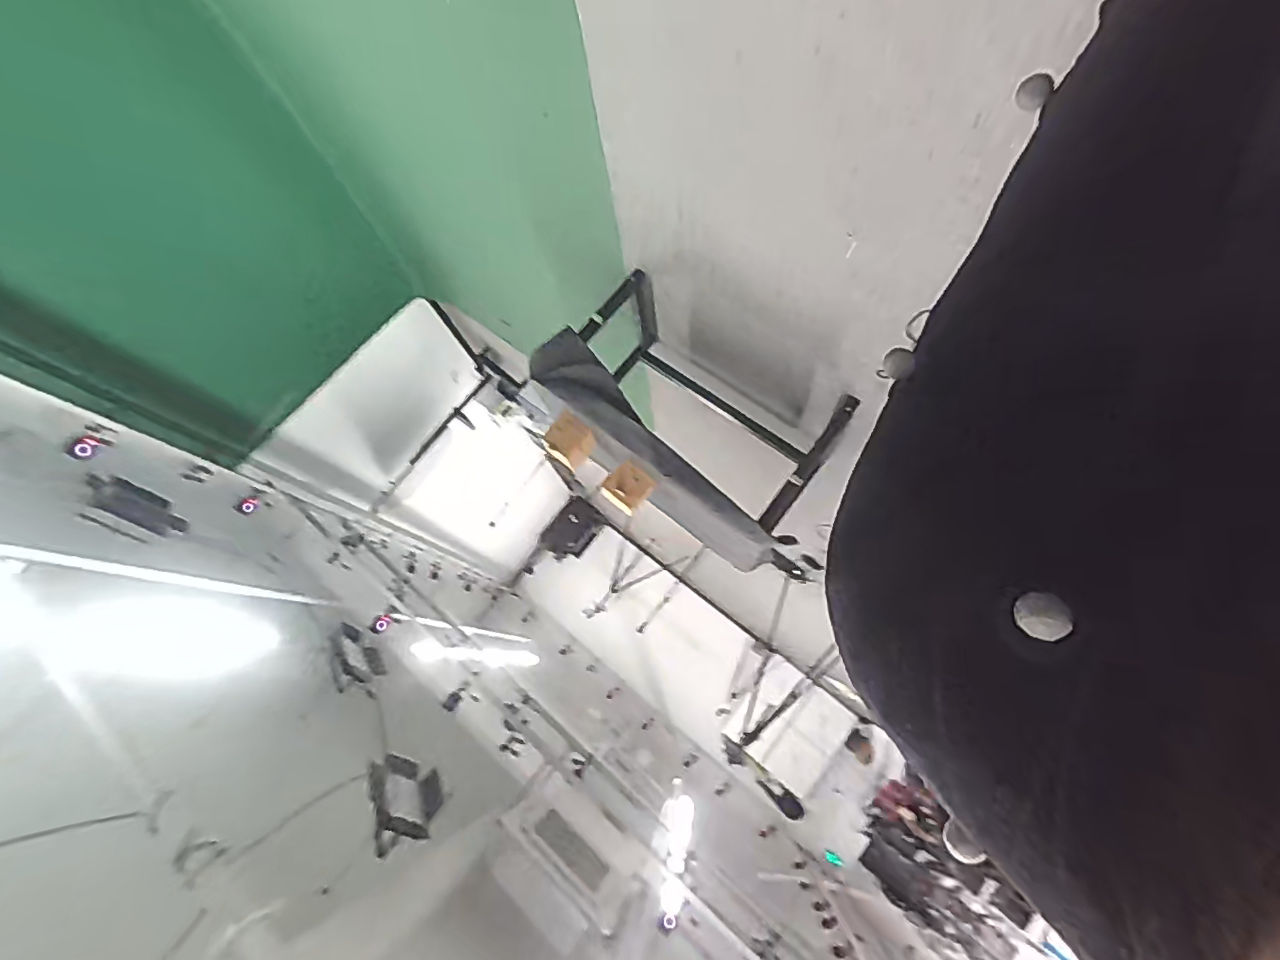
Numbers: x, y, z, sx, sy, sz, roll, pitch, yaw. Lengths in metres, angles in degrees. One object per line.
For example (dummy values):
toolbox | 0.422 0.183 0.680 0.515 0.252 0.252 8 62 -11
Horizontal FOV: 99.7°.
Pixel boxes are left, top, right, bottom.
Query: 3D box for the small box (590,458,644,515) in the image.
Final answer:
small box | -0.099 0.029 2.364 0.168 0.176 0.179 39 168 6

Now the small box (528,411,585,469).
small box | -0.365 -0.181 2.406 0.168 0.176 0.179 38 169 14
